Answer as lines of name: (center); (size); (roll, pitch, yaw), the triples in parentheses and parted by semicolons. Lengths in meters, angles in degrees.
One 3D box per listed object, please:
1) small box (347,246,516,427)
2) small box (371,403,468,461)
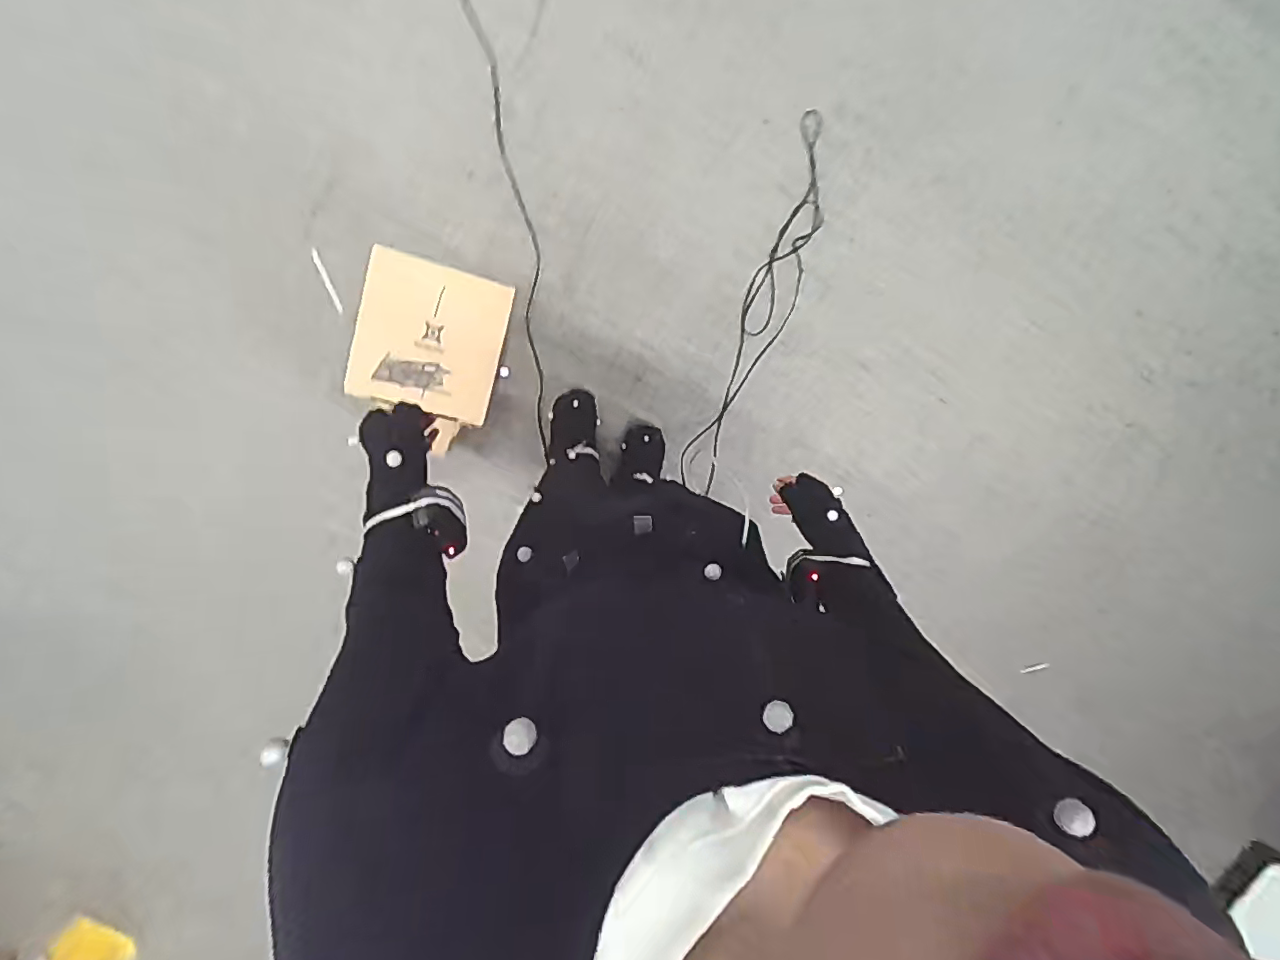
small box: (-0.263, -0.179, 0.722); (0.168, 0.176, 0.179); (14, 95, -14)
small box: (-0.487, -0.169, 1.266); (0.179, 0.176, 0.168); (27, 99, -14)
